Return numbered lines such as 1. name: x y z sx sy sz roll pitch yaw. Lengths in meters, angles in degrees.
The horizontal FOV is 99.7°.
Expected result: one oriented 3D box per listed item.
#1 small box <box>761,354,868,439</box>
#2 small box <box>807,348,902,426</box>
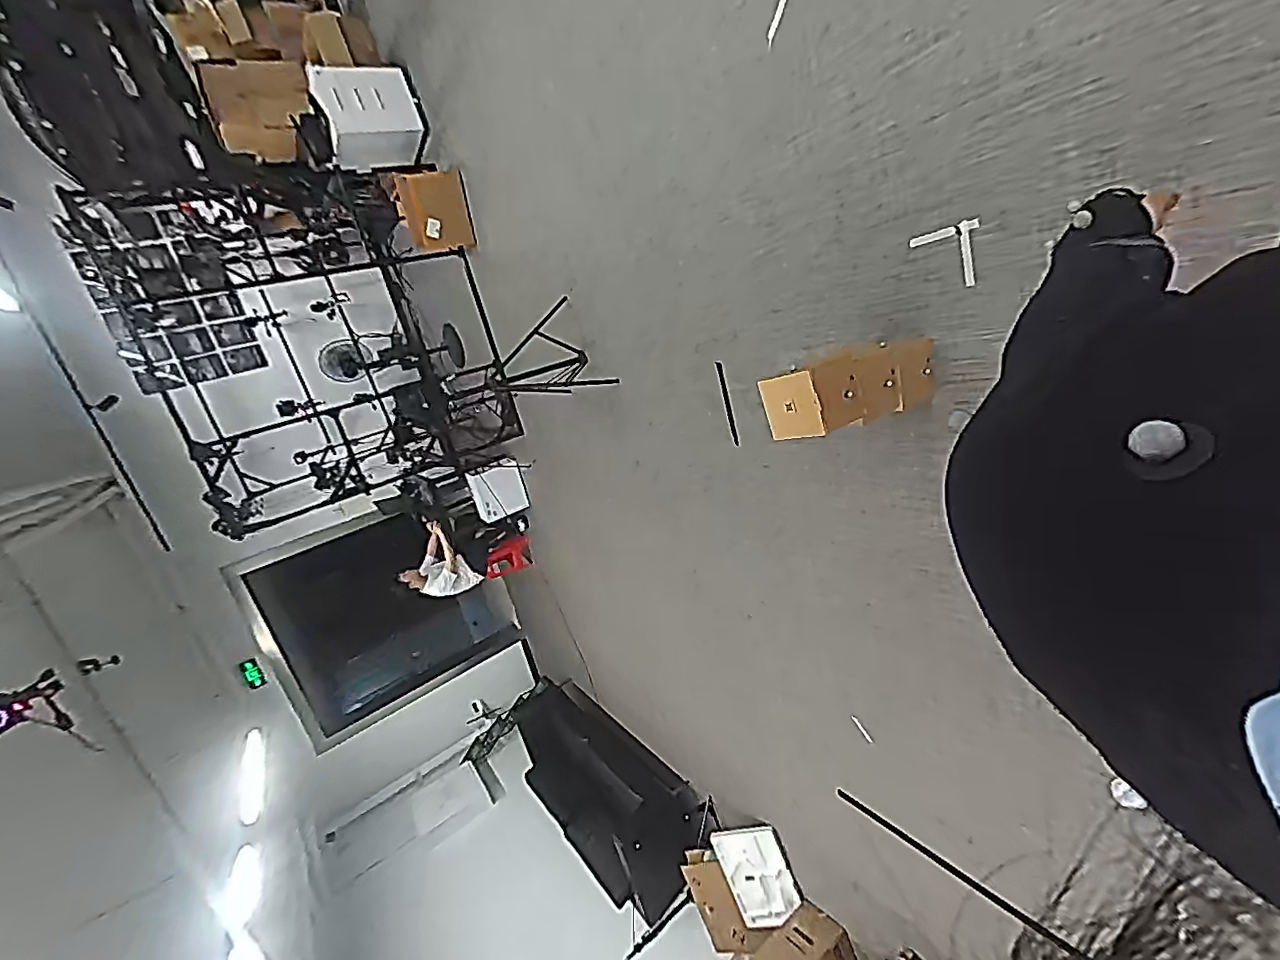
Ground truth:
1. small box: 0.449 -0.211 1.389 0.179 0.176 0.168 -2 109 59
2. small box: 0.582 -0.258 1.471 0.179 0.176 0.168 16 126 53
